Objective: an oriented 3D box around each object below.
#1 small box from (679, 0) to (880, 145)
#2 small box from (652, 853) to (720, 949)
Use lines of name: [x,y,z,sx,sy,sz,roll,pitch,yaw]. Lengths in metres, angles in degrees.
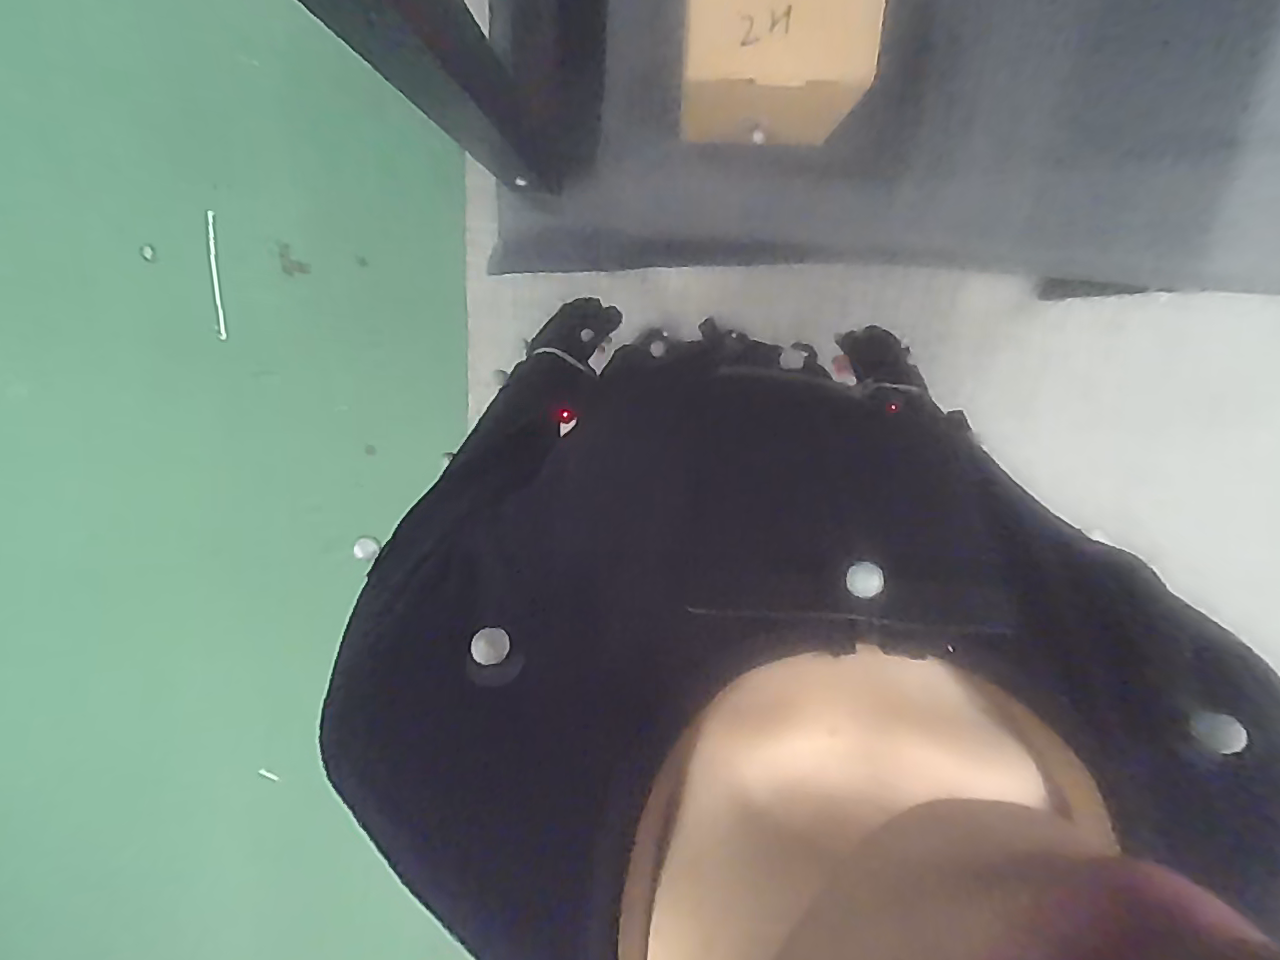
small box: [0.126,-0.457,0.530,0.168,0.176,0.179,2,105,2]
small box: [0.150,1.385,1.790,0.179,0.176,0.168,19,105,-2]
